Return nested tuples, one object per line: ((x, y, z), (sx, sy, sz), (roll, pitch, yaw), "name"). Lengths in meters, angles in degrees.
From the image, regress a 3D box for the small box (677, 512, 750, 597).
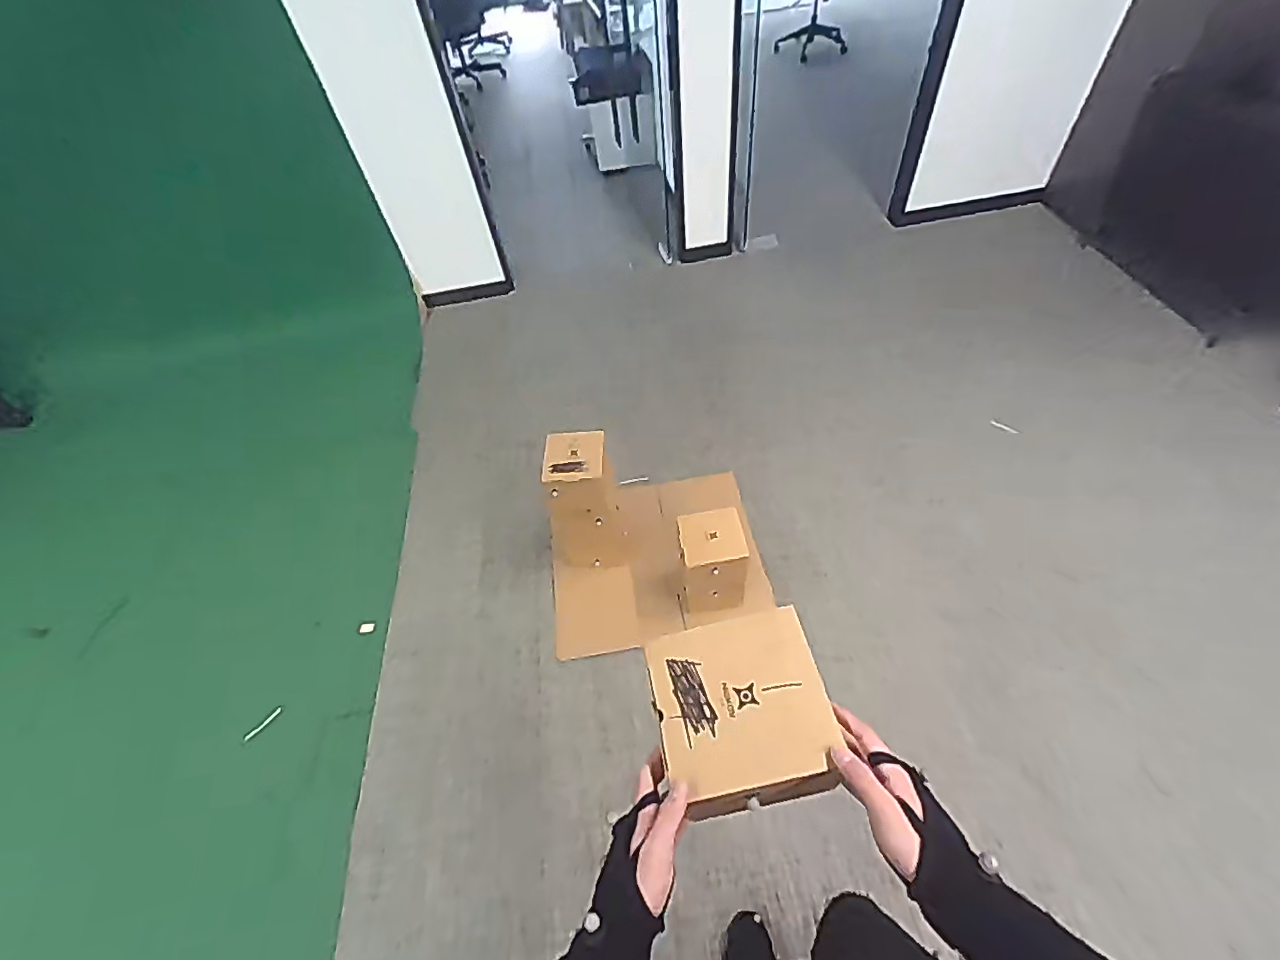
((0.207, 0.216, 1.548), (0.179, 0.176, 0.168), (-10, 52, 1), "small box")

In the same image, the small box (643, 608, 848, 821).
((0.114, 0.272, 0.616), (0.179, 0.176, 0.168), (-14, 52, 2), "small box")

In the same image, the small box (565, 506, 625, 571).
((-0.144, 0.194, 1.811), (0.179, 0.176, 0.168), (-2, 51, 4), "small box")

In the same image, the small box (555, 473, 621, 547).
((-0.155, 0.096, 1.677), (0.179, 0.176, 0.168), (-3, 51, 4), "small box")

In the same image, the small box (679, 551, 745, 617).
((0.221, 0.310, 1.678), (0.179, 0.176, 0.168), (-9, 52, 0), "small box")
